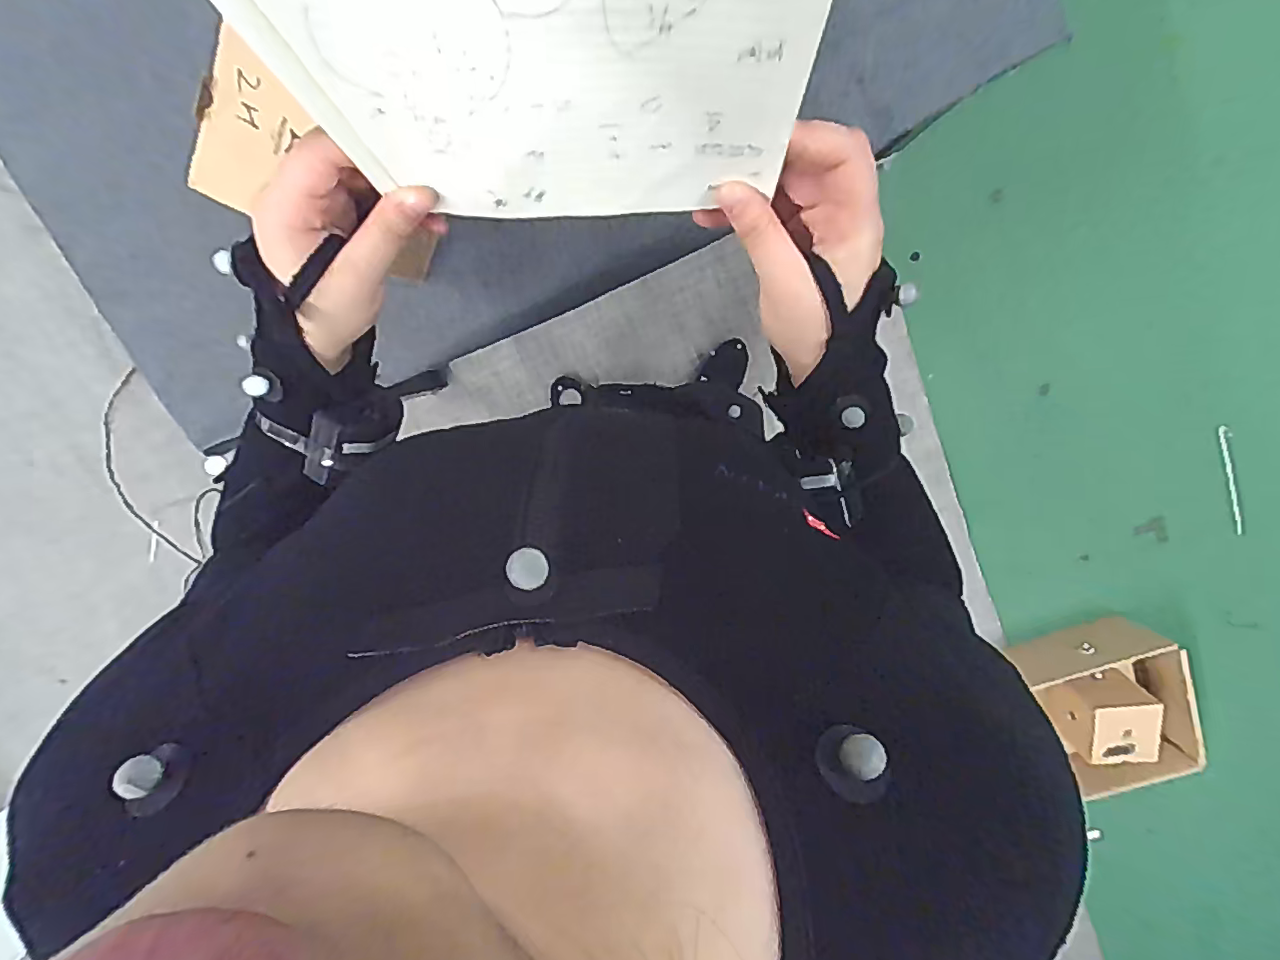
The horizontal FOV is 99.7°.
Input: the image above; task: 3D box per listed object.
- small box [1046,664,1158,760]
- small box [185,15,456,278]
[{"bbox_3d":[1.245,0.628,1.472,0.168,0.176,0.179,-7,105,5],"label":"small box"},{"bbox_3d":[-0.330,-0.337,0.592,0.179,0.176,0.168,25,103,-3],"label":"small box"}]
